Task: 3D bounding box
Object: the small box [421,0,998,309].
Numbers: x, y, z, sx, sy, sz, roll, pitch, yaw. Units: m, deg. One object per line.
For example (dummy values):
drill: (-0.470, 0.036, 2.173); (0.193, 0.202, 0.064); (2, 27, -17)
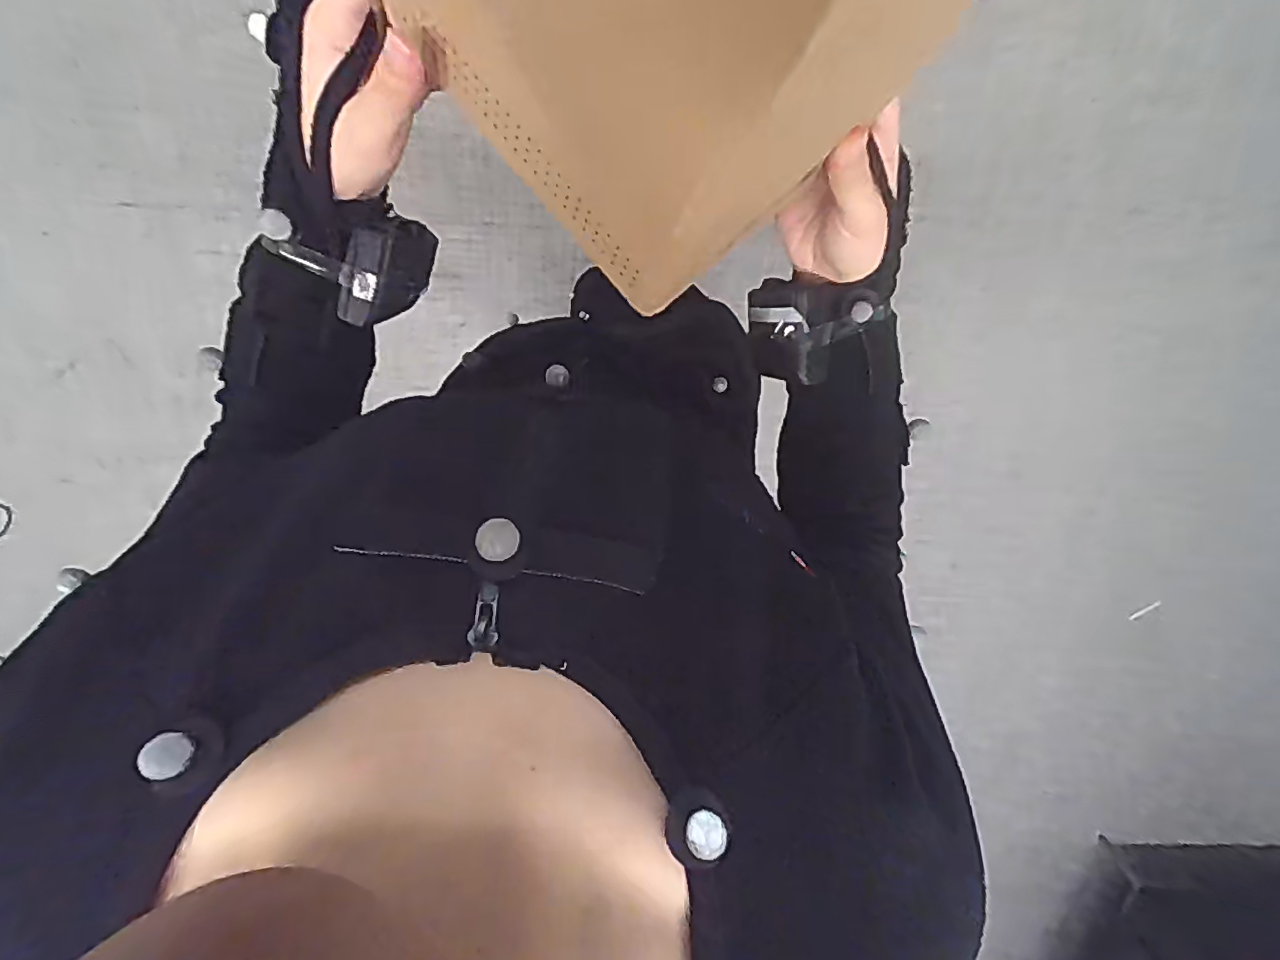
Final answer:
small box: (0.026, -0.200, 0.200); (0.168, 0.176, 0.179); (-44, 94, -12)
